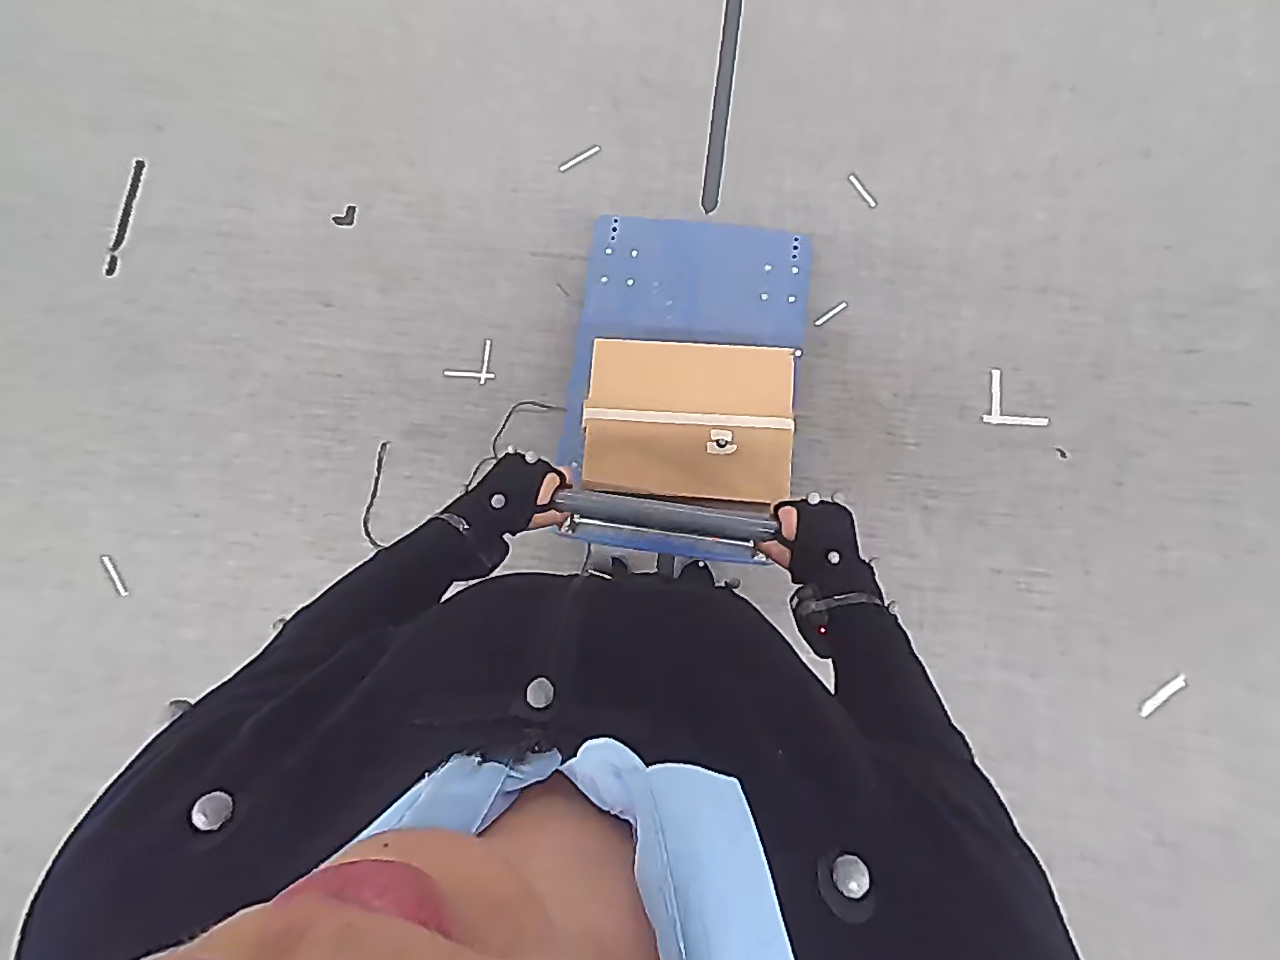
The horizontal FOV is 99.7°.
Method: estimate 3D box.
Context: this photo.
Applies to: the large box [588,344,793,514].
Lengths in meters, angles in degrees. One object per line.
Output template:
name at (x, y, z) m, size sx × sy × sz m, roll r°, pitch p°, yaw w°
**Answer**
large box at (0.104, -0.095, 1.220) m, size 0.408 × 0.320 × 0.320 m, roll 4°, pitch 83°, yaw 2°
